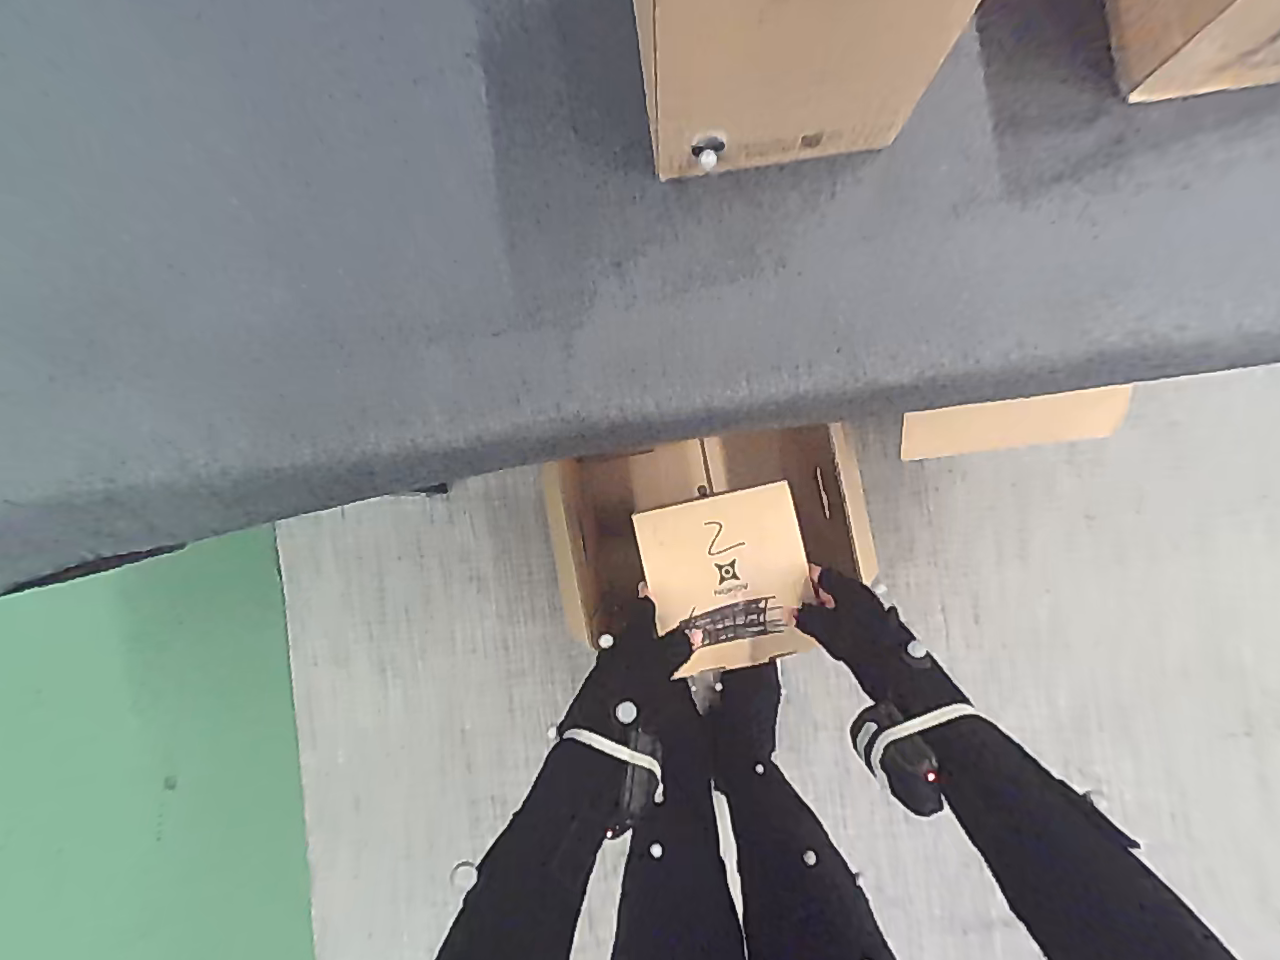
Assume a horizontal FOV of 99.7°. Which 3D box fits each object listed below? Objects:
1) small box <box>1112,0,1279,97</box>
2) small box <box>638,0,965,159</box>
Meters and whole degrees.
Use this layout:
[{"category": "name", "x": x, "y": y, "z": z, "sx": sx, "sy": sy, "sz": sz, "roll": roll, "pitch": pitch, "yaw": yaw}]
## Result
[{"category": "small box", "x": 0.398, "y": -0.357, "z": 0.290, "sx": 0.168, "sy": 0.176, "sz": 0.179, "roll": -7, "pitch": 88, "yaw": 3}, {"category": "small box", "x": 0.081, "y": -0.309, "z": 0.300, "sx": 0.168, "sy": 0.176, "sz": 0.179, "roll": -7, "pitch": 87, "yaw": 2}]
